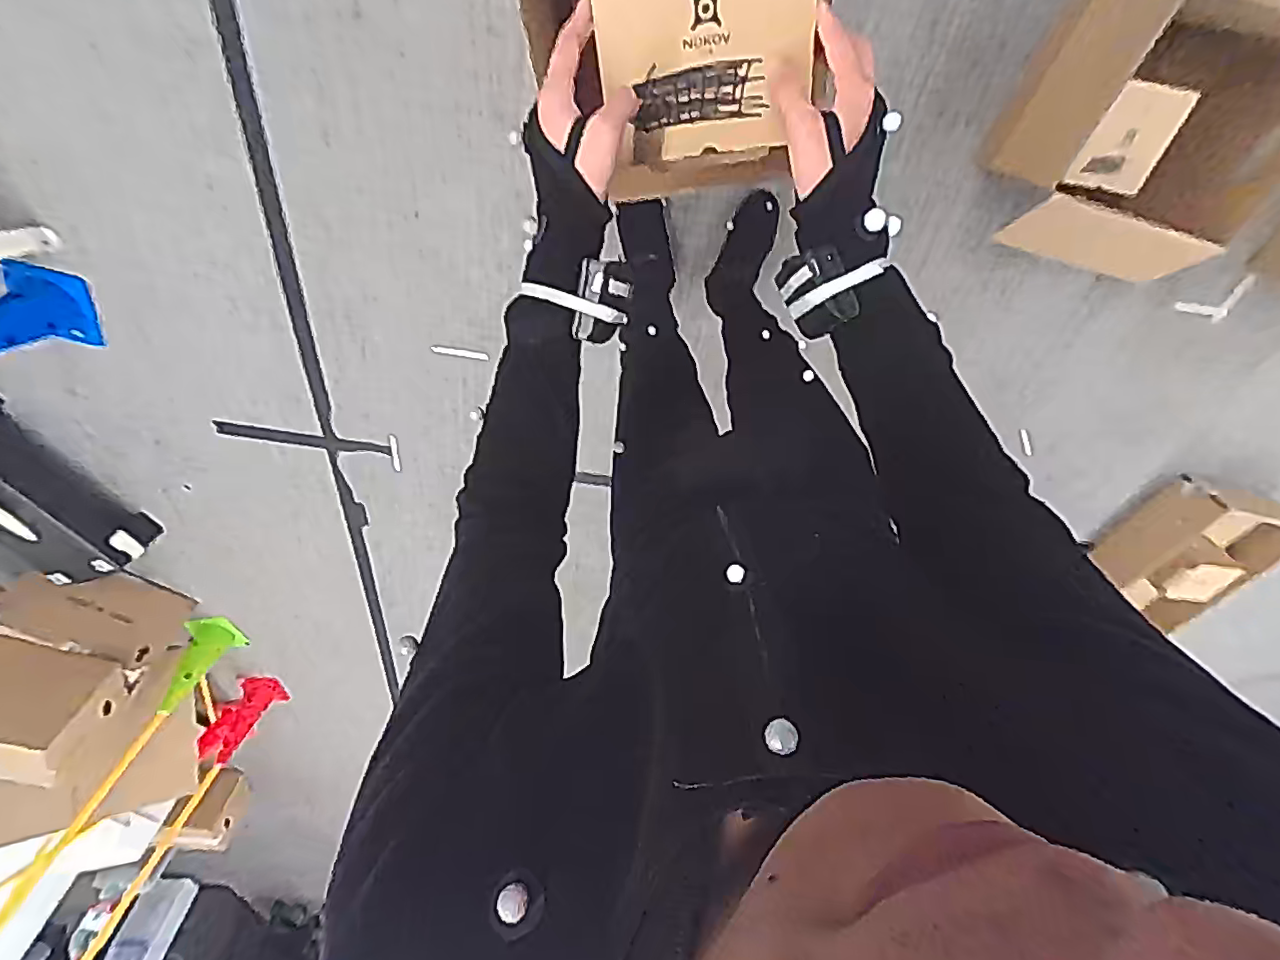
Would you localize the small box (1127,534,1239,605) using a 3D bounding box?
[{"bbox_3d":[1.869,0.308,1.875,0.179,0.176,0.168,8,130,-7],"label":"small box"}]
